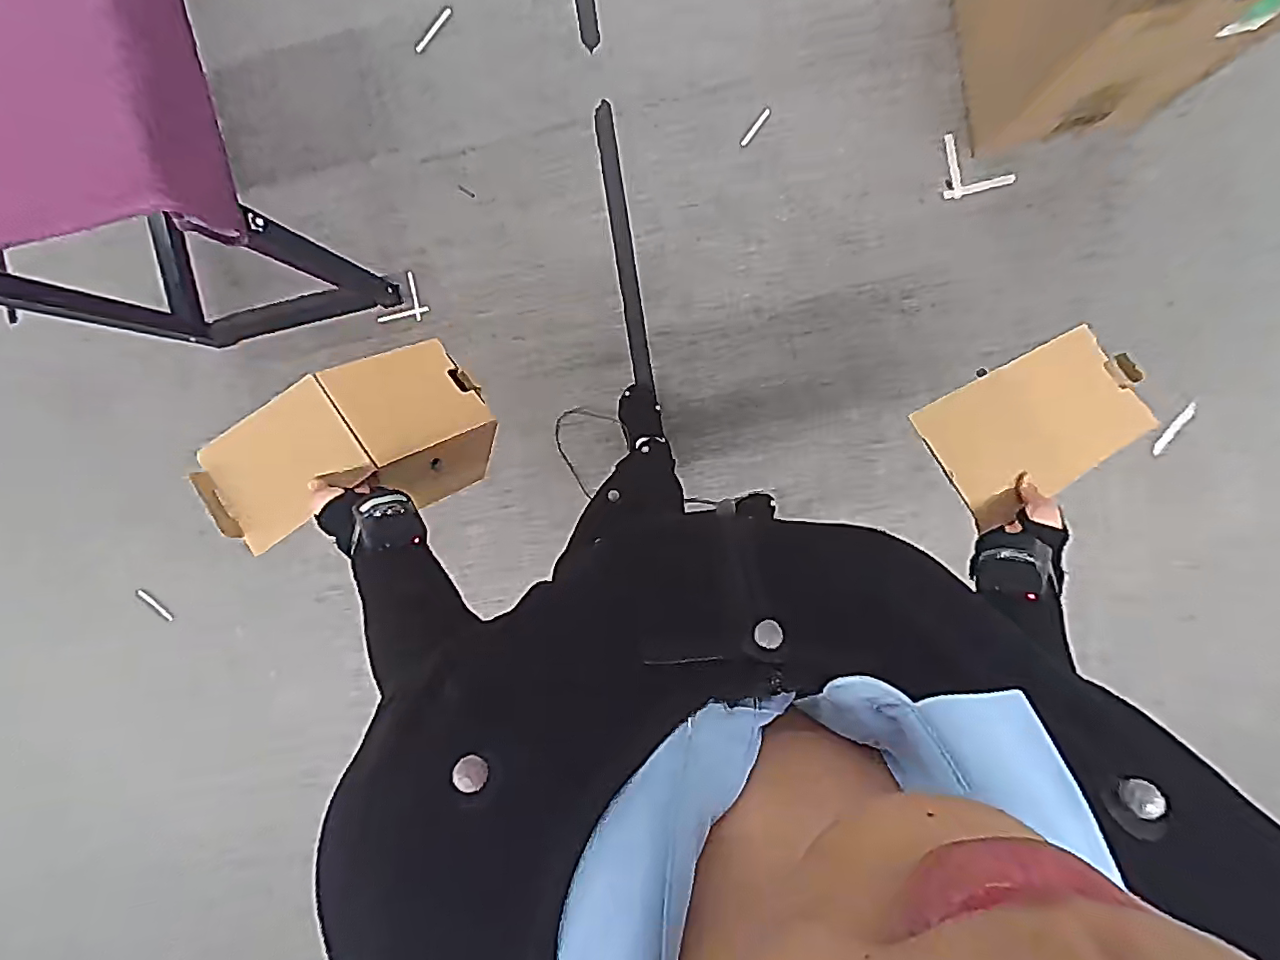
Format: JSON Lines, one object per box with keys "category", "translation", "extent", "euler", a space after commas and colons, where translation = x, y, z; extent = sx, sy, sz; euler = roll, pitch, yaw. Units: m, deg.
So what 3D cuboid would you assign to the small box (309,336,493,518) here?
{"category": "small box", "translation": [-0.337, -0.072, 0.778], "extent": [0.179, 0.176, 0.168], "euler": [-30, 76, -35]}
